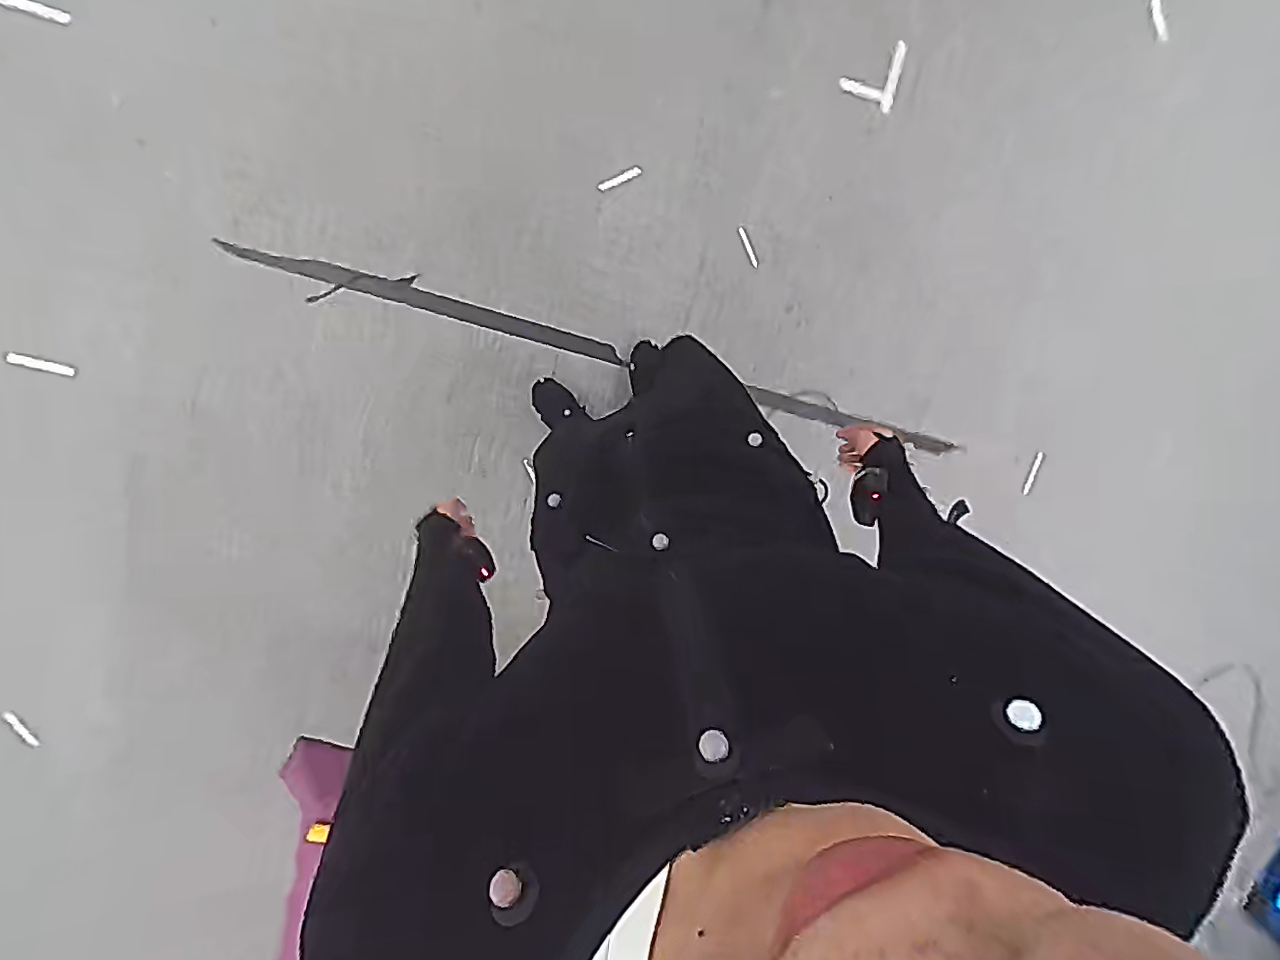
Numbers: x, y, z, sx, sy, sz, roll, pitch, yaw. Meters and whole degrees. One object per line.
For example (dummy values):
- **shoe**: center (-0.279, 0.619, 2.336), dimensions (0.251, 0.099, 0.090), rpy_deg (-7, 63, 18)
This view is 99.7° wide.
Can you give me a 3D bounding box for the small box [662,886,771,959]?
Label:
- **small box**: center (0.146, 0.929, 1.031), dimensions (0.168, 0.176, 0.179), rpy_deg (13, 102, -10)
